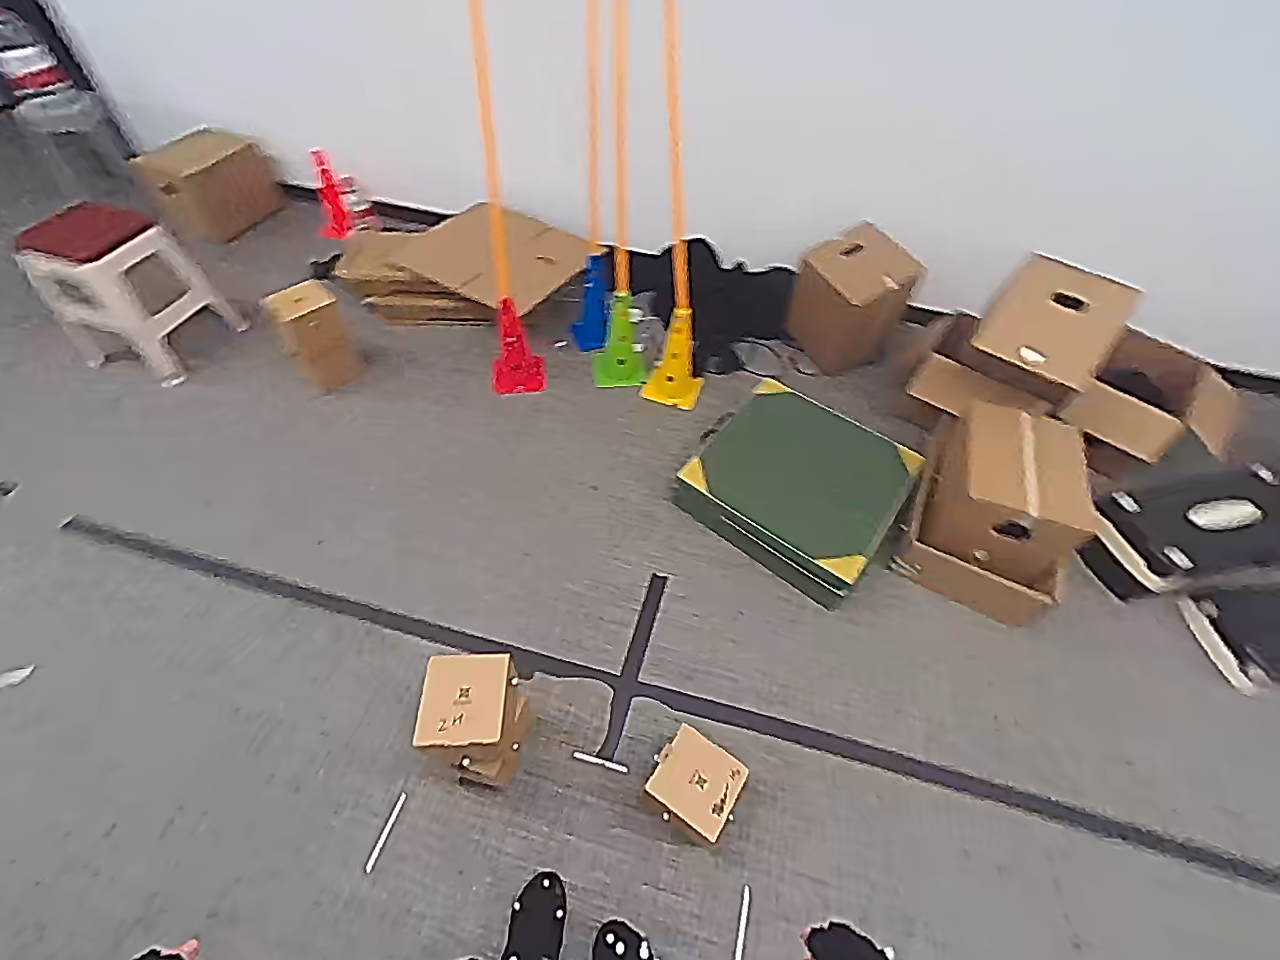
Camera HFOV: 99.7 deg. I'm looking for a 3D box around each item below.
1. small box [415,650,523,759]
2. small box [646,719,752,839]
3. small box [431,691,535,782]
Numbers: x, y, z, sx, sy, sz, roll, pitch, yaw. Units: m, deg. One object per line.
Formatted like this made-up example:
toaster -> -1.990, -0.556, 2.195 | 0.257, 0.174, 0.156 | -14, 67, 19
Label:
small box -> -0.350, 0.479, 1.149 | 0.168, 0.176, 0.179 | 3, 55, 0
small box -> 0.126, 0.686, 1.231 | 0.179, 0.176, 0.168 | 29, 56, 16
small box -> -0.357, 0.588, 1.272 | 0.168, 0.176, 0.179 | 13, 53, 7
